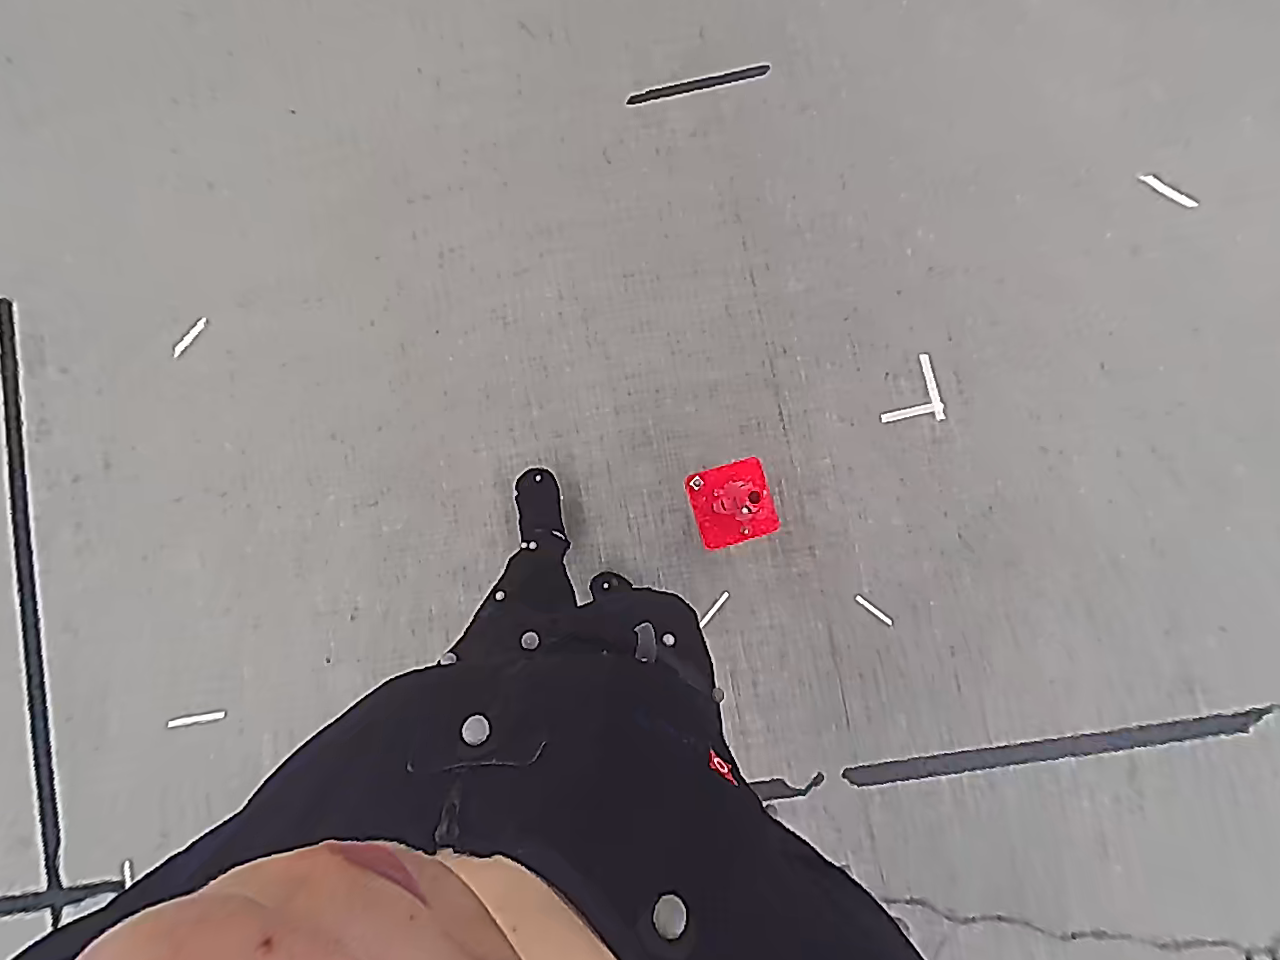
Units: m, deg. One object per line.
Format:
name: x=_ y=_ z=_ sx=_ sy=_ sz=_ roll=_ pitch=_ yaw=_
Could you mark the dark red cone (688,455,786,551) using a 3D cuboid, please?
dark red cone: x=0.228 y=0.048 z=1.153 sx=0.202 sy=0.394 sz=0.201 roll=-18 pitch=86 yaw=1
